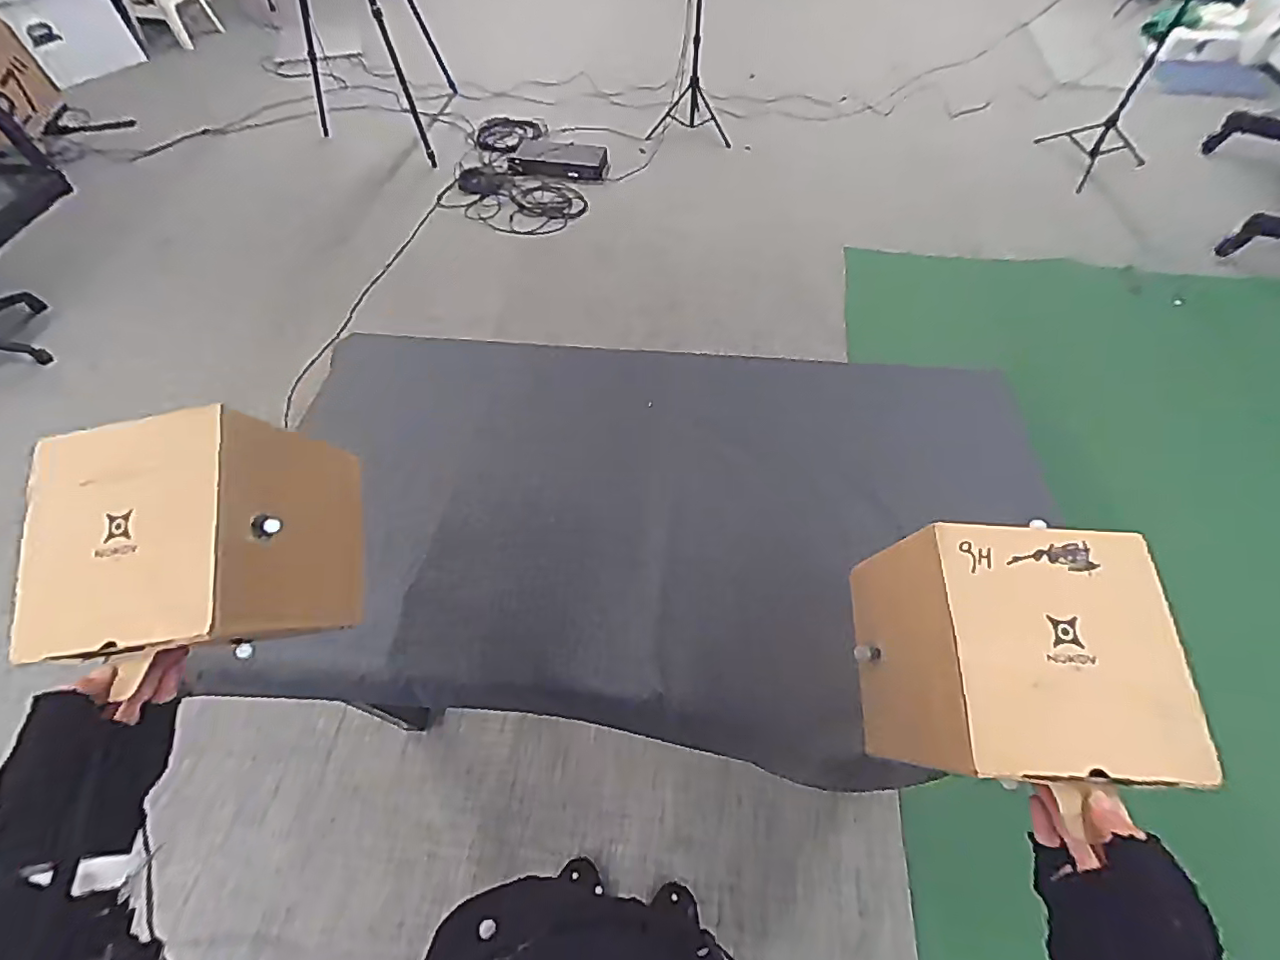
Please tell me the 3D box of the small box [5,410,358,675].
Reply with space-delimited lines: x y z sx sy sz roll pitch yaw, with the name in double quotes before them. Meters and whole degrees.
"small box" -0.371 0.060 0.472 0.168 0.176 0.179 -10 76 5
